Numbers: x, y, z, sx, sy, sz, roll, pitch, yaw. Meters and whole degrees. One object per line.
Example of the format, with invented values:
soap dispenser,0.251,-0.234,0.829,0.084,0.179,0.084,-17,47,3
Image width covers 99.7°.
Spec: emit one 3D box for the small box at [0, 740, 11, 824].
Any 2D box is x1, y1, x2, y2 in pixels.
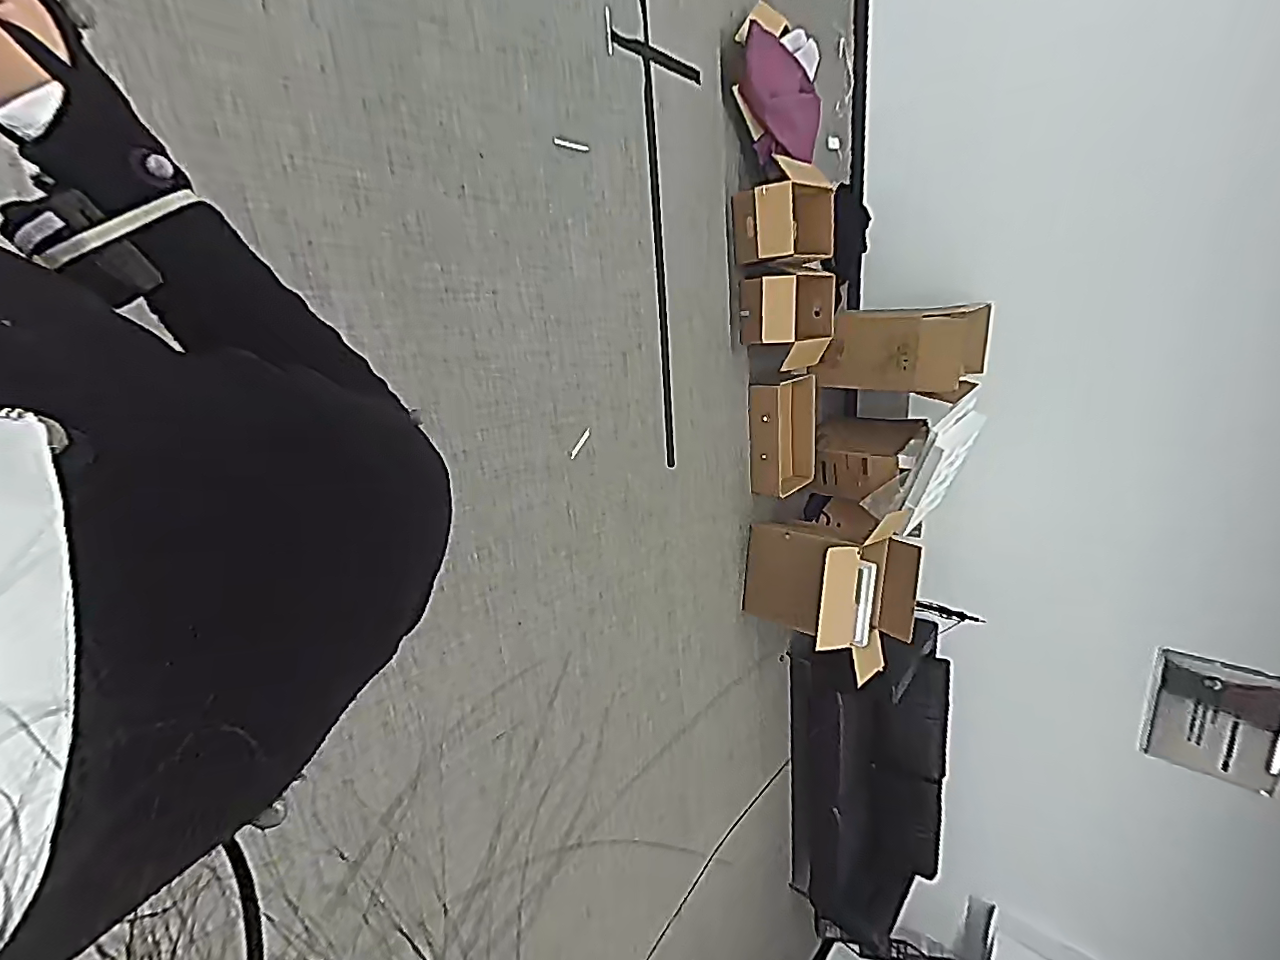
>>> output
small box,-1.014,0.414,0.739,0.168,0.176,0.179,-27,117,-43
